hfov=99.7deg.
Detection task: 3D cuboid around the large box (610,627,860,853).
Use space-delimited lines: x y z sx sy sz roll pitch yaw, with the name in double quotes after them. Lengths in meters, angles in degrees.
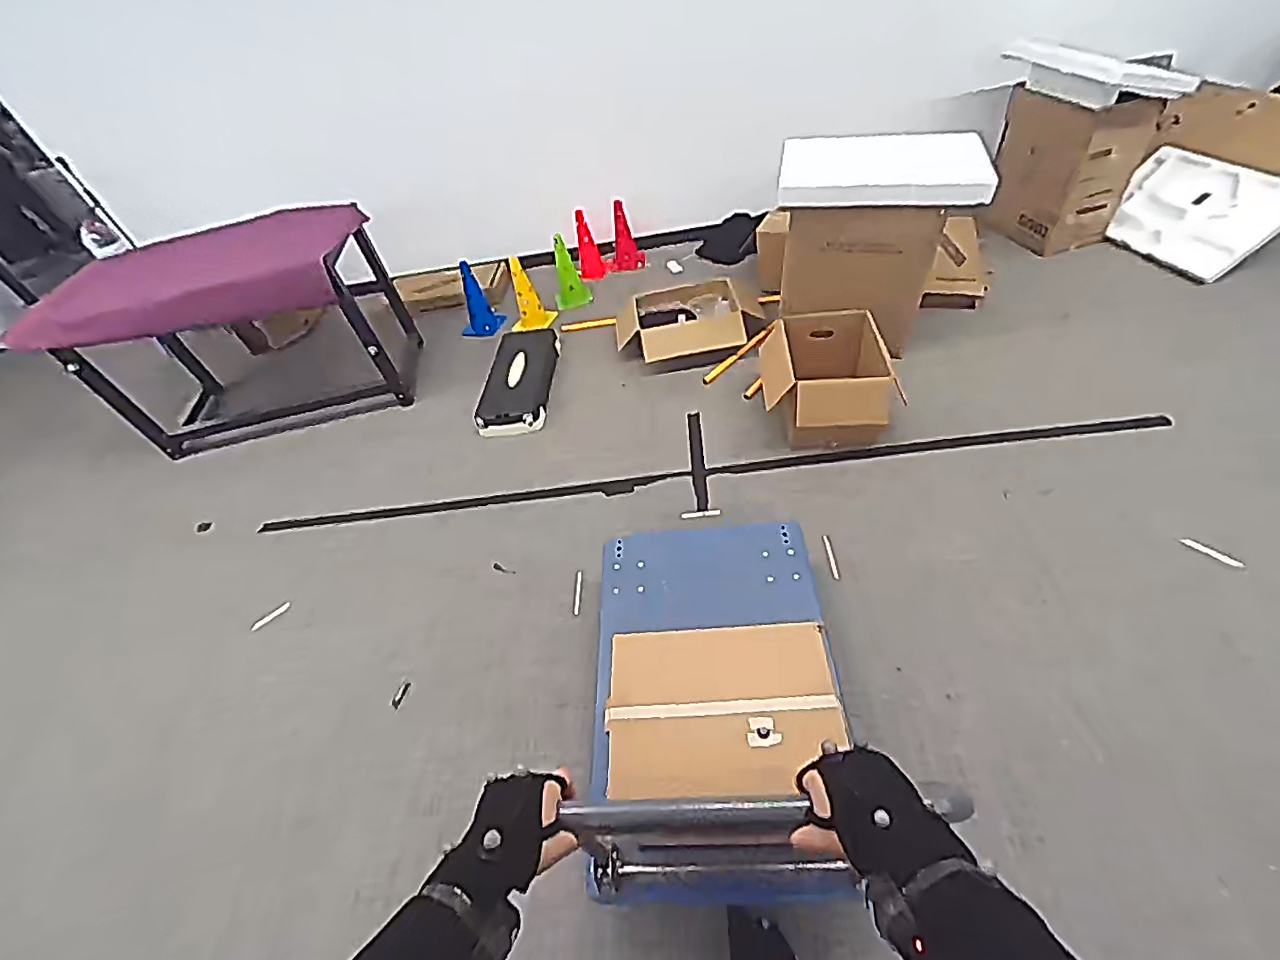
0.162 0.516 1.063 0.408 0.320 0.320 -5 47 5 "large box"
